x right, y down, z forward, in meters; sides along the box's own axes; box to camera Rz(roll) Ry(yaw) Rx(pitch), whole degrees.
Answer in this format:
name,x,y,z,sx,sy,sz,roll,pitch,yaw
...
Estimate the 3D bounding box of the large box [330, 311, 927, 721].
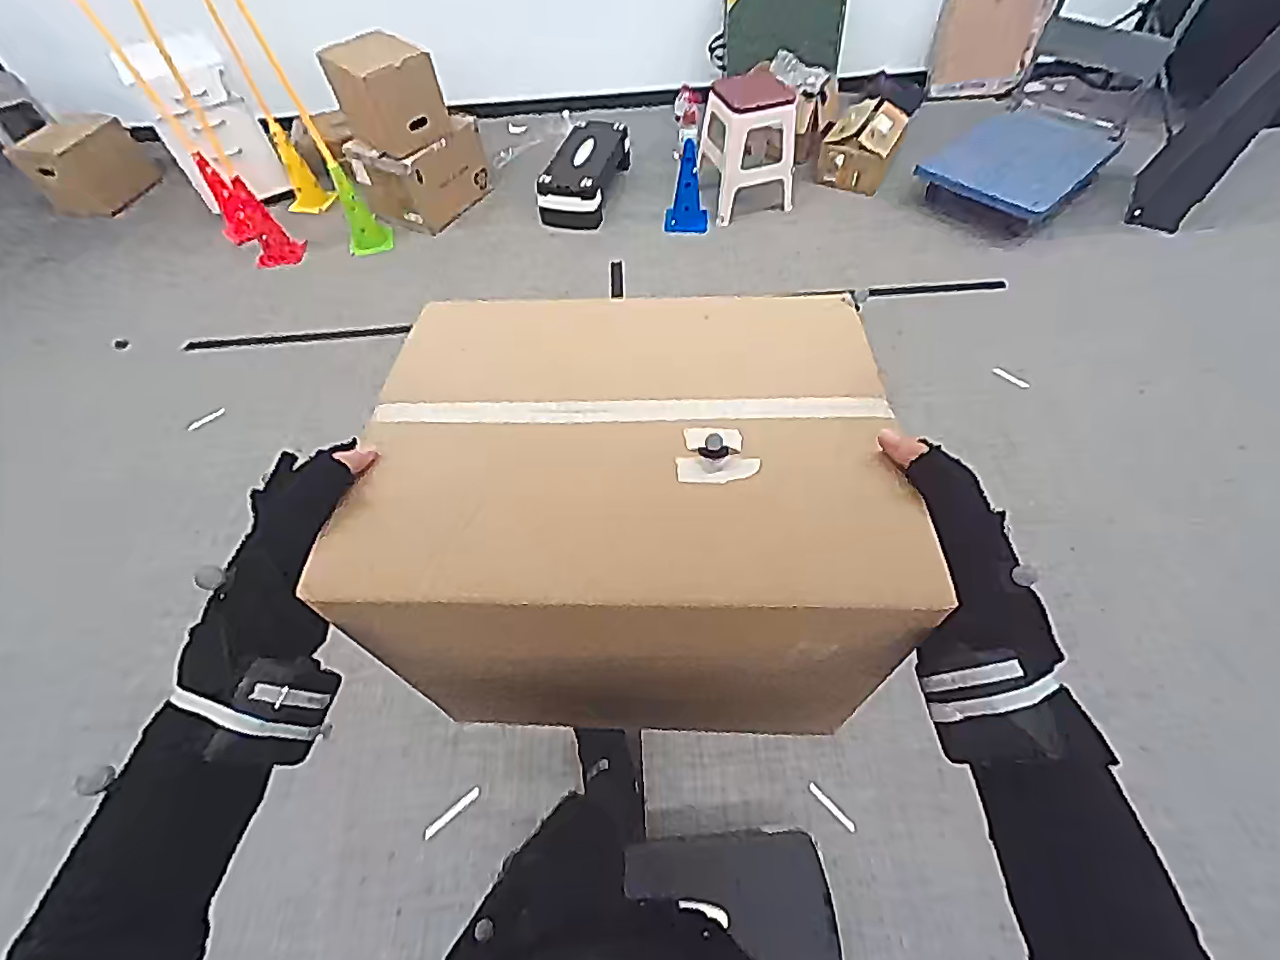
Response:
name,x,y,z,sx,sy,sz,roll,pitch,yaw
large box,-0.004,0.046,0.561,0.408,0.320,0.320,0,52,3
